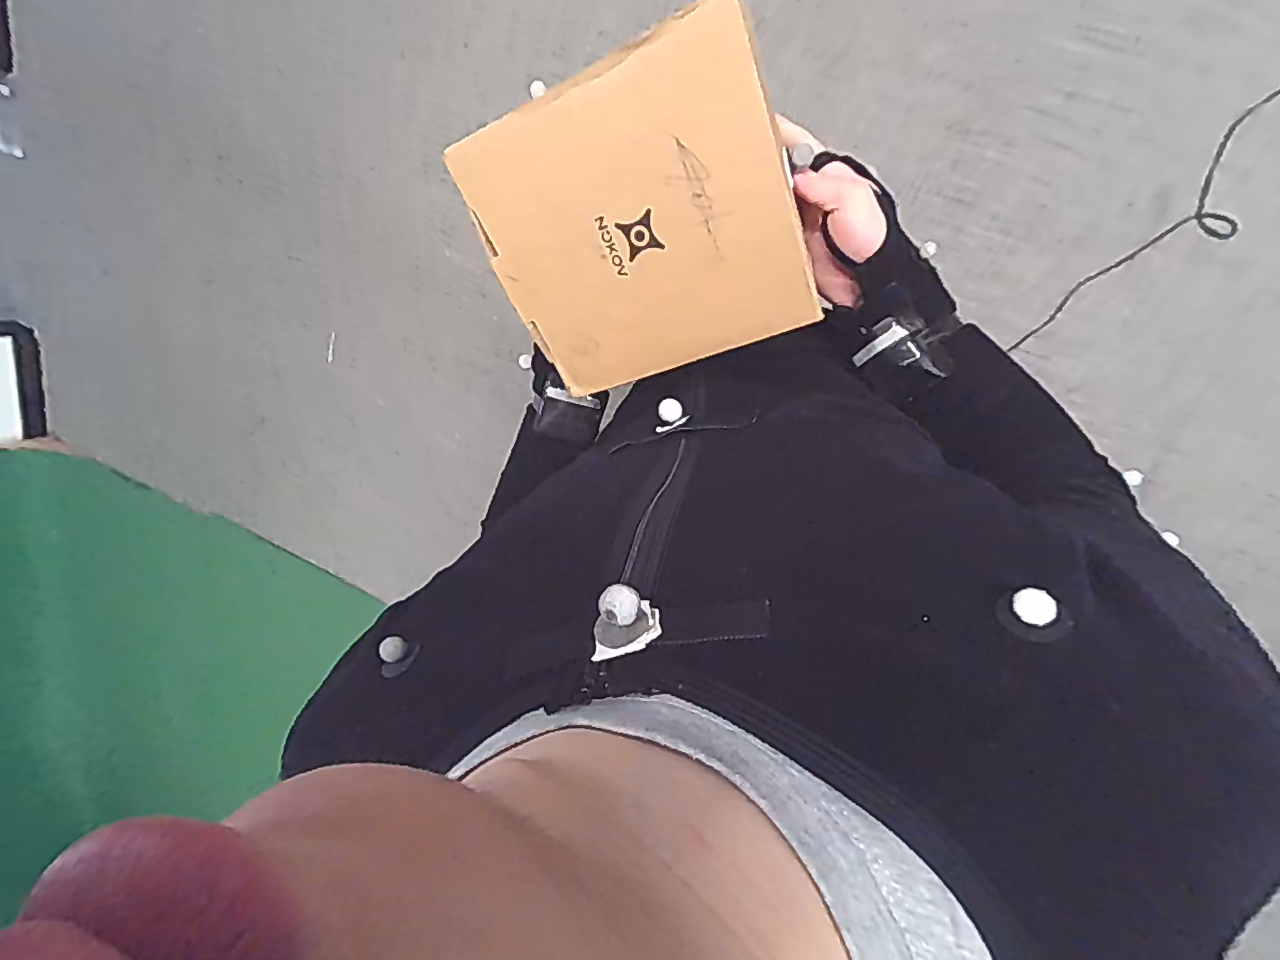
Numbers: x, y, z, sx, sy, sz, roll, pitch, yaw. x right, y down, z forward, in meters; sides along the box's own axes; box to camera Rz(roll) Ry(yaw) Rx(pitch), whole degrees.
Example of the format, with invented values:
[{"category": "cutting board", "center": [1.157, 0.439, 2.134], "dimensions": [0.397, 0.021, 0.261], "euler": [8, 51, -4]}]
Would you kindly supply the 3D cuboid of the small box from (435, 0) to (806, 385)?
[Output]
[{"category": "small box", "center": [0.007, -0.193, 0.371], "dimensions": [0.179, 0.176, 0.168], "euler": [-13, 123, 23]}]
